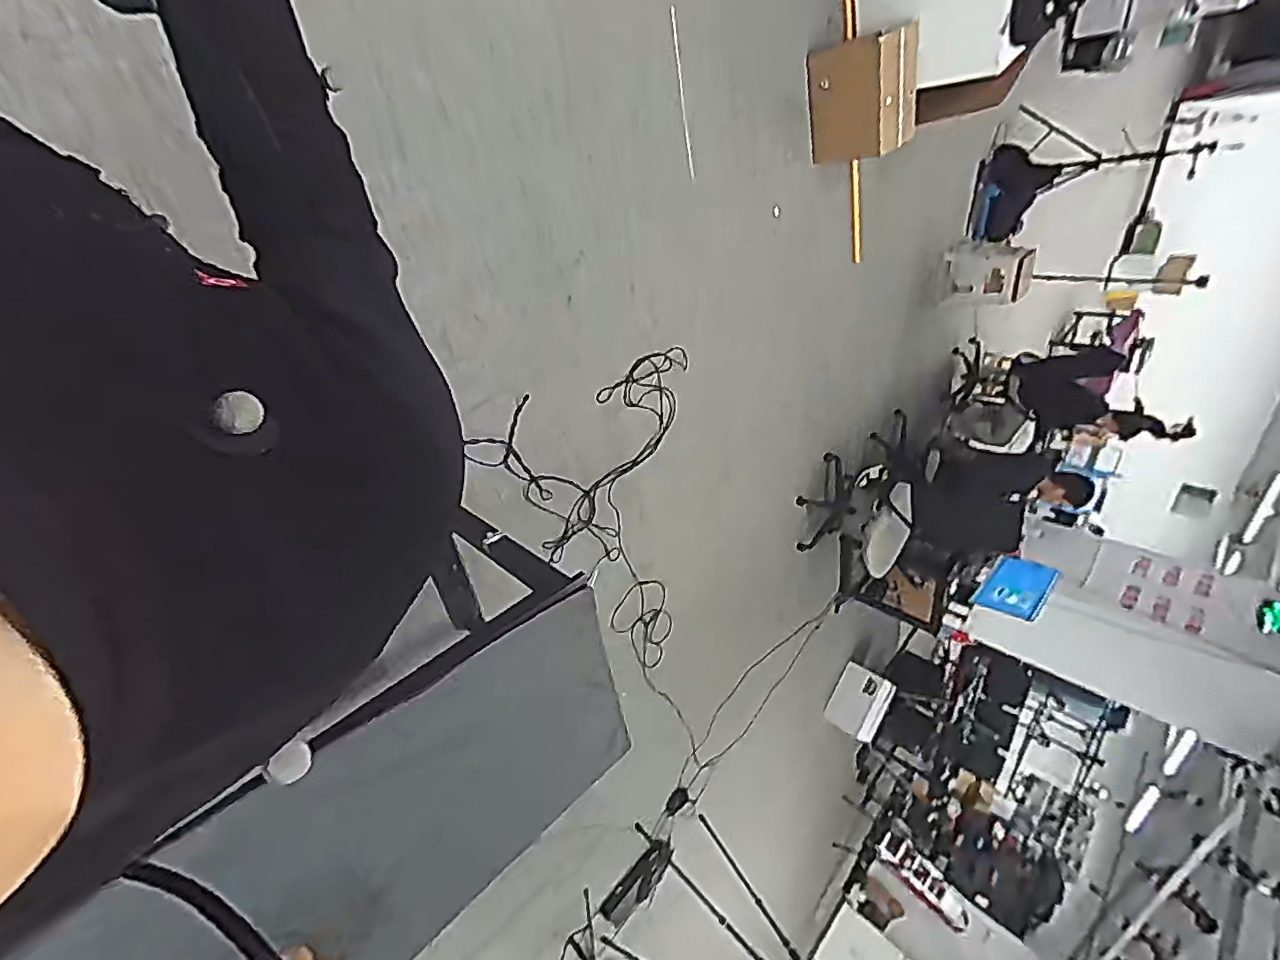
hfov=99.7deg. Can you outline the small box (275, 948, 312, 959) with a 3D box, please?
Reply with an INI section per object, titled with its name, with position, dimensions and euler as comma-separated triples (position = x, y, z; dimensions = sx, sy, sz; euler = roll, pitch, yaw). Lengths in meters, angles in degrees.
[small box]
position = -0.552, 0.872, 0.813
dimensions = 0.168, 0.176, 0.179
euler = -25, 123, -37
